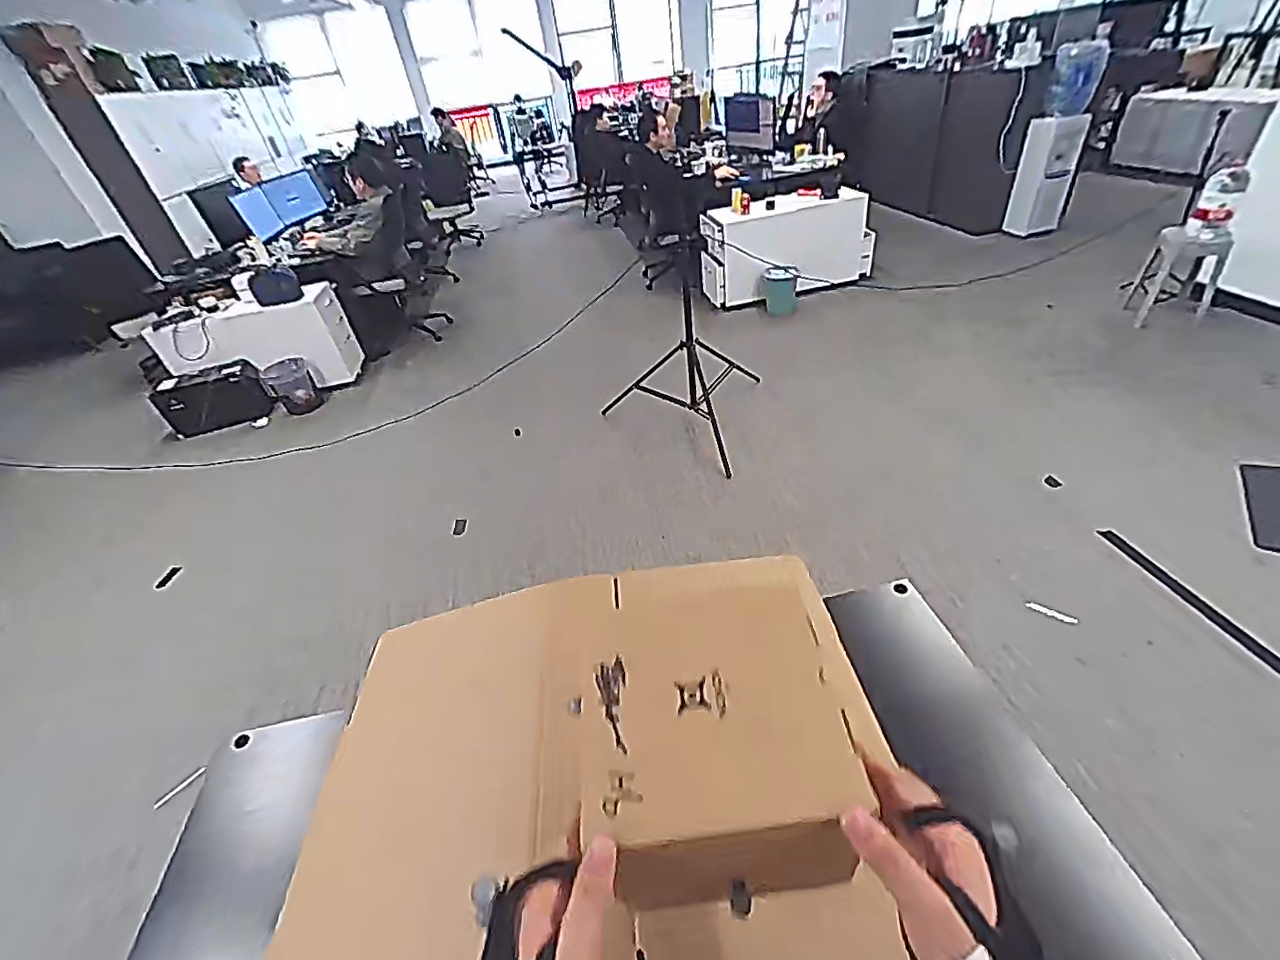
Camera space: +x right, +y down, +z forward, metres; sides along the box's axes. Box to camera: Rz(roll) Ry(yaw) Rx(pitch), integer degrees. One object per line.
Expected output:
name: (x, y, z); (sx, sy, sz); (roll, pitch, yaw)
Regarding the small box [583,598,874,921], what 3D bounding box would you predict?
small box: (0.056, 0.219, 0.427); (0.179, 0.176, 0.168); (-8, 38, 1)
